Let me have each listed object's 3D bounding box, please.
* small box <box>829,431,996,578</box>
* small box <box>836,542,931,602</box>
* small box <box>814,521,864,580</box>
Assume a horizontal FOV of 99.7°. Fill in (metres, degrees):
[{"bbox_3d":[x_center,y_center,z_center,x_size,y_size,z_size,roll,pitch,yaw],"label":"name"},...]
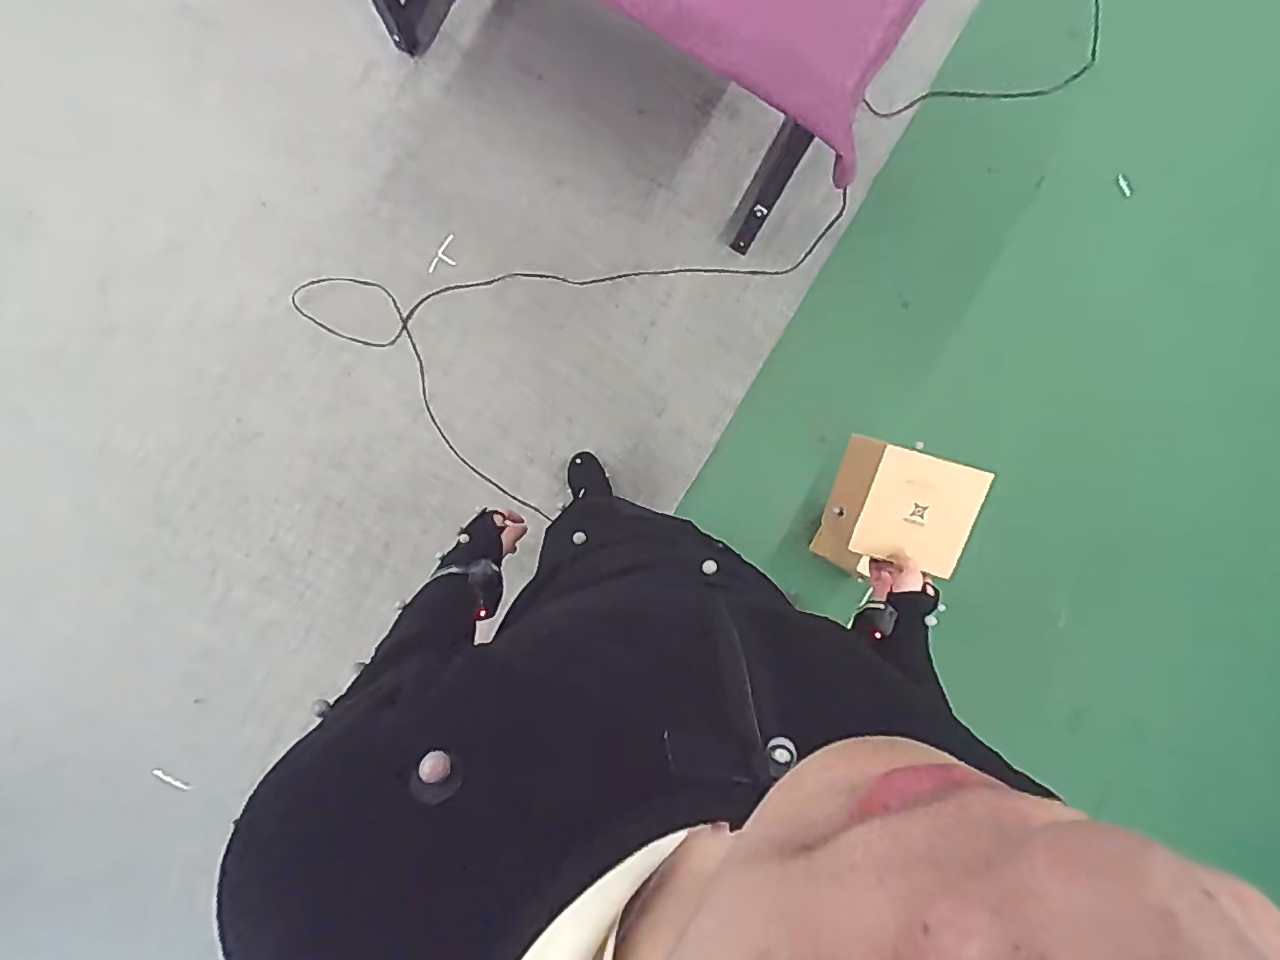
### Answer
[{"bbox_3d":[0.425,0.030,0.881,0.168,0.176,0.179,17,101,2],"label":"small box"},{"bbox_3d":[0.649,0.188,1.420,0.168,0.176,0.179,30,90,-3],"label":"small box"},{"bbox_3d":[0.643,0.190,1.584,0.179,0.176,0.168,29,89,-4],"label":"small box"}]
